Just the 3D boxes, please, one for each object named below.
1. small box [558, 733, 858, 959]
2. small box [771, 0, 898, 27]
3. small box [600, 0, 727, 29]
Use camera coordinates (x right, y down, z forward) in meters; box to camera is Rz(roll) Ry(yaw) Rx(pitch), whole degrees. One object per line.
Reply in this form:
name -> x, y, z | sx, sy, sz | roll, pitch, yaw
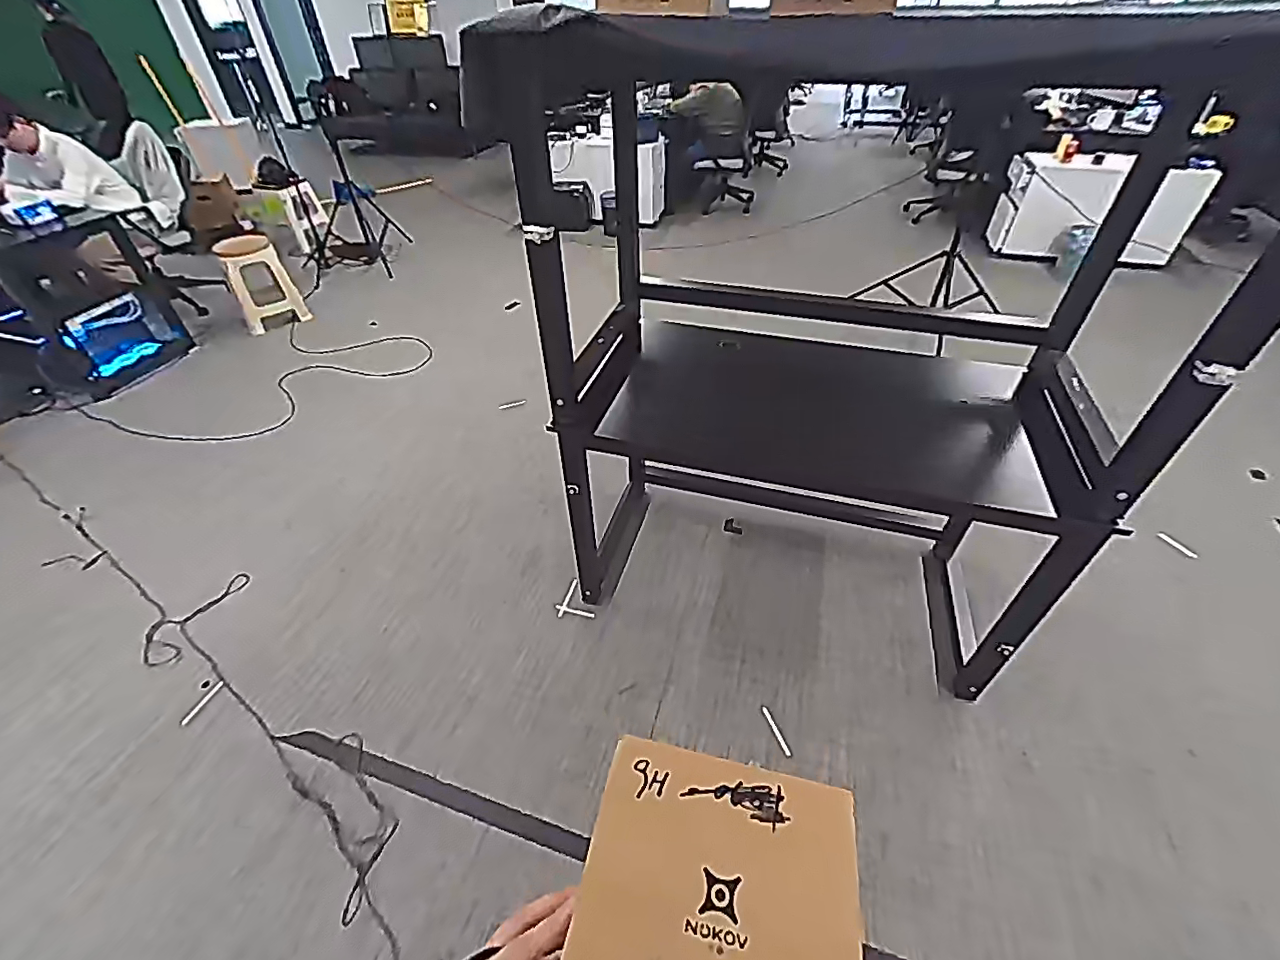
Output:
small box -> 0.042, 0.312, 0.371 | 0.168, 0.176, 0.179 | 11, 43, 9
small box -> 0.279, -0.729, 0.732 | 0.168, 0.176, 0.179 | 12, 41, 15
small box -> 0.039, -0.757, 0.770 | 0.168, 0.176, 0.179 | 11, 41, 12
